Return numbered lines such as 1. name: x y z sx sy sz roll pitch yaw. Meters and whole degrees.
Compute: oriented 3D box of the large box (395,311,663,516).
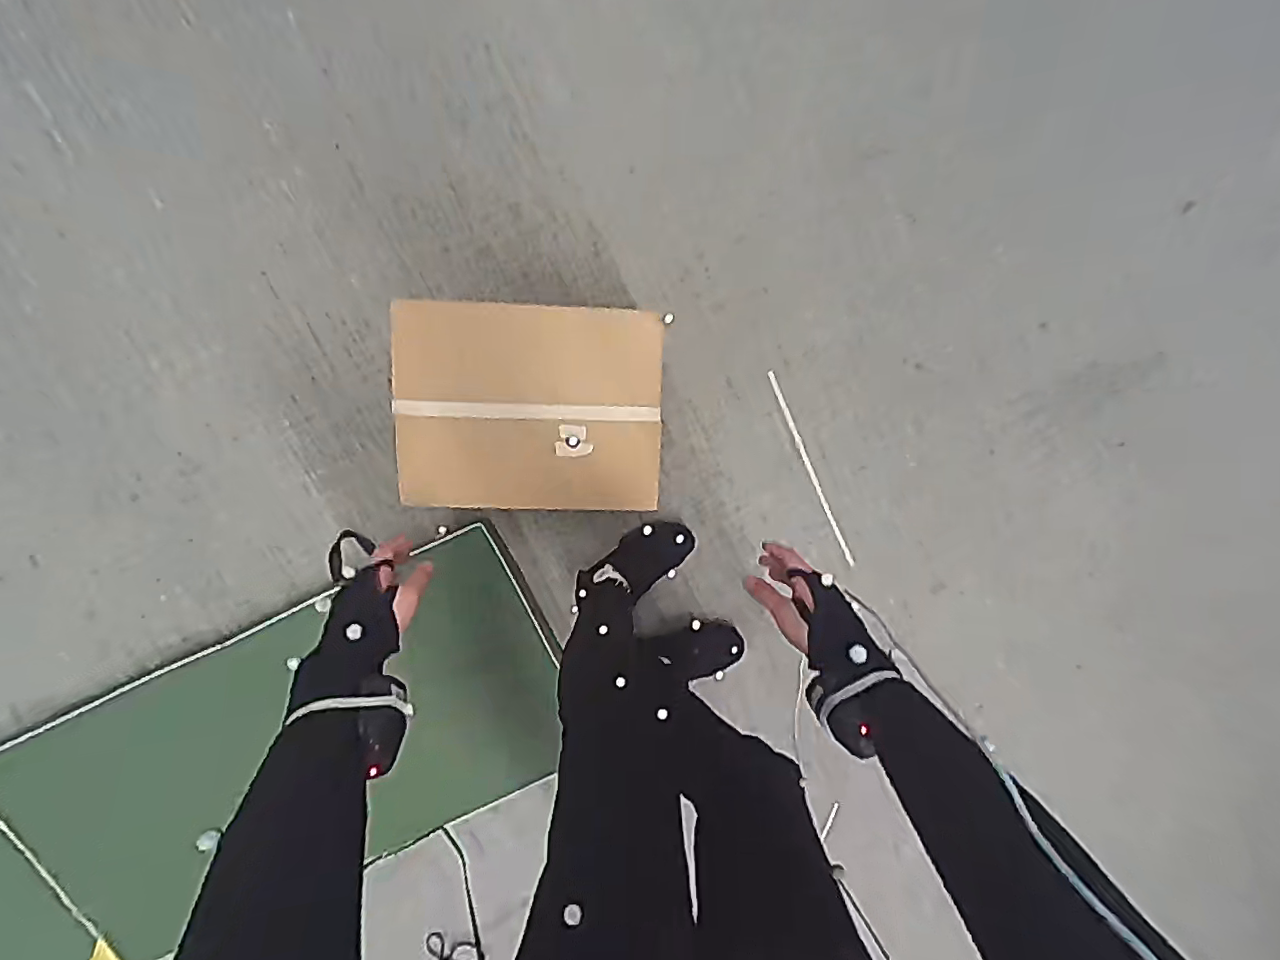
1. large box: -0.181 -0.120 0.979 0.408 0.320 0.320 1 101 -6
